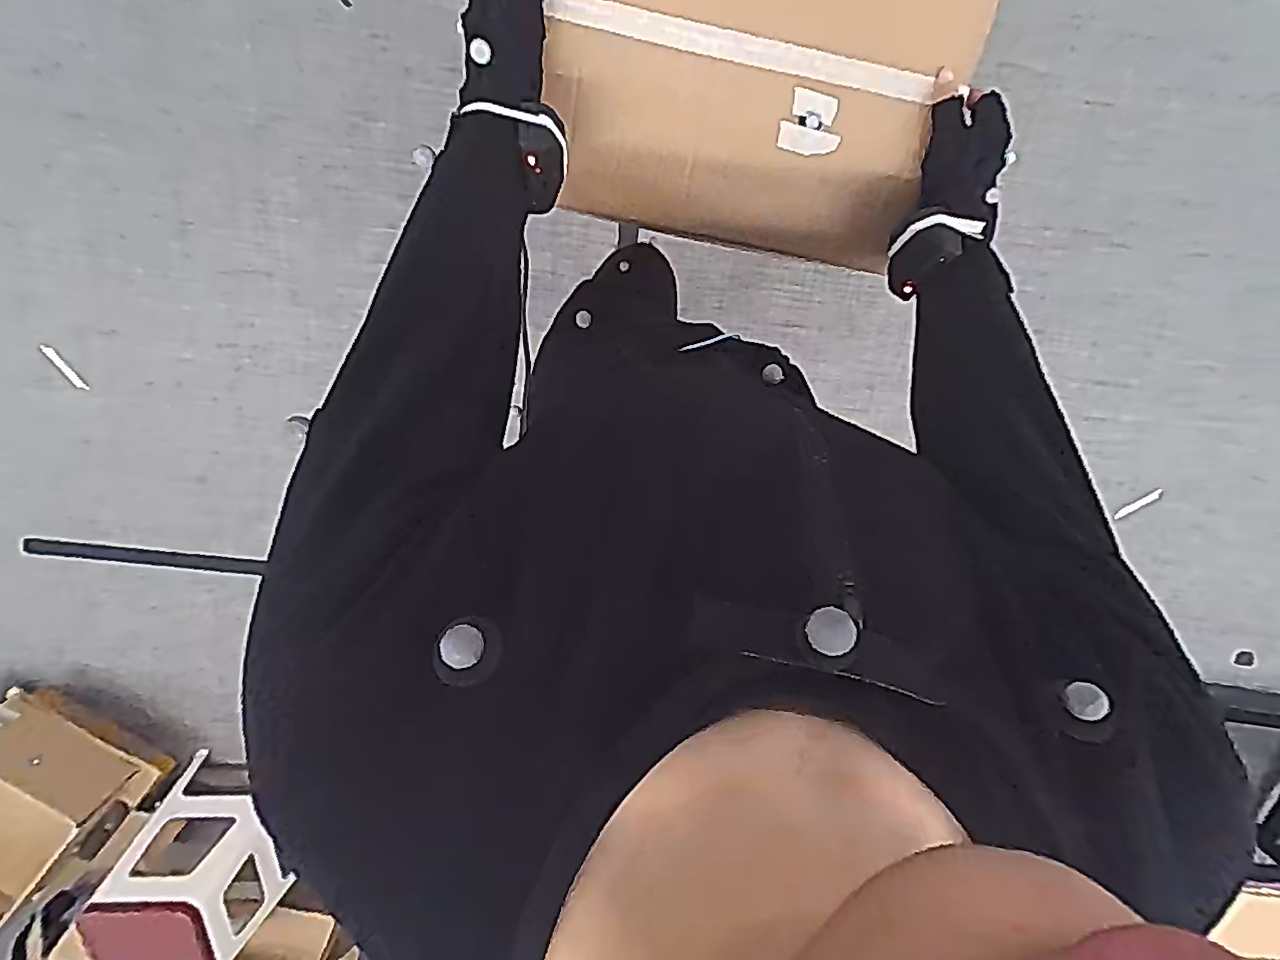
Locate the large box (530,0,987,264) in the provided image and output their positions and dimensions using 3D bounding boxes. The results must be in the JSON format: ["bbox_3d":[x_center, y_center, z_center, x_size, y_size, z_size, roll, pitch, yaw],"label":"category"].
[{"bbox_3d":[0.103,-0.459,0.641,0.408,0.320,0.320,9,115,-5],"label":"large box"}]
